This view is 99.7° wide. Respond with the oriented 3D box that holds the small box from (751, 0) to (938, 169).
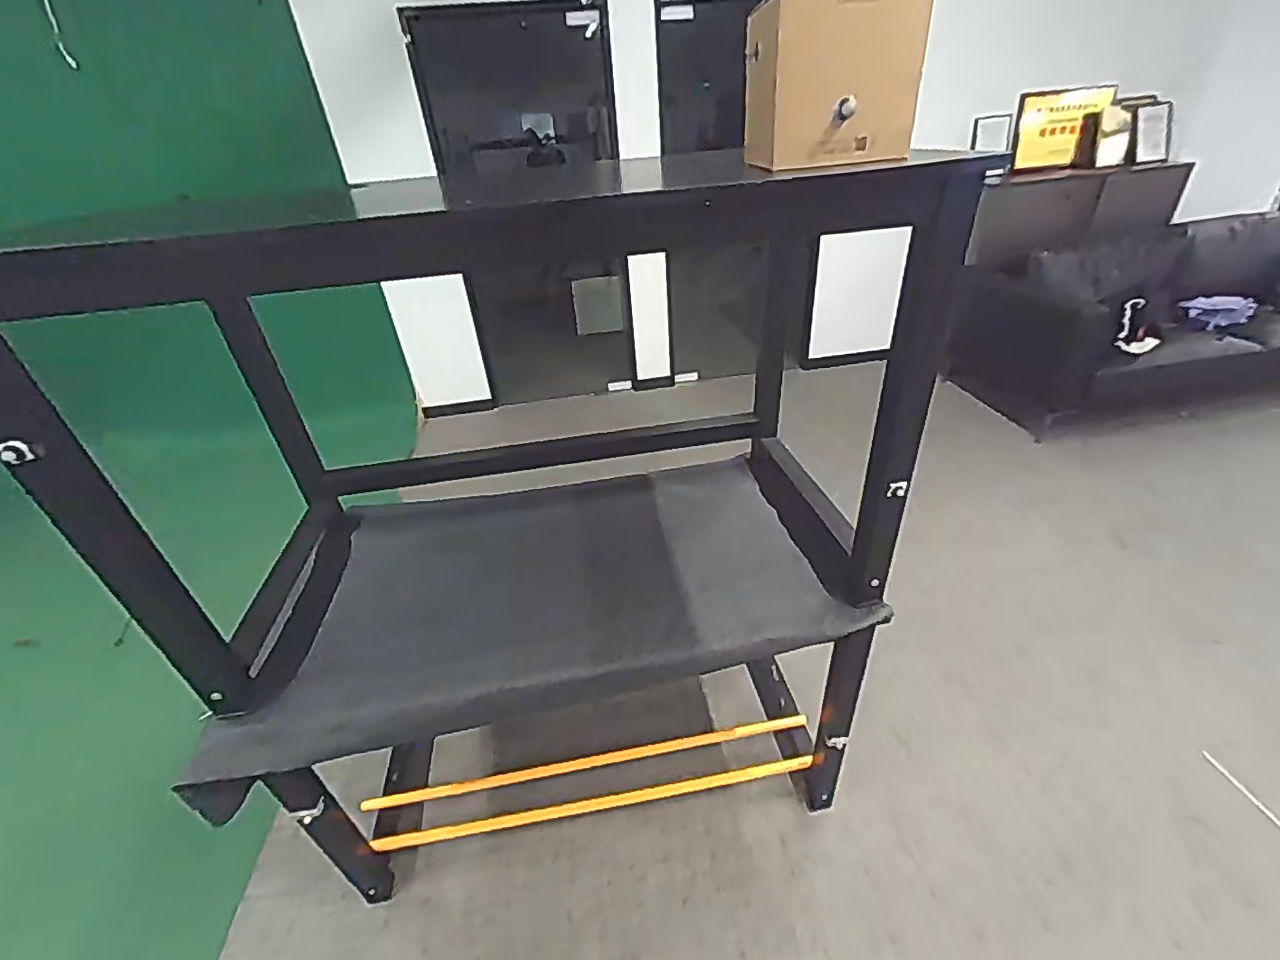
[{"bbox_3d":[0.236,-0.492,0.675,0.168,0.176,0.179,-5,33,2],"label":"small box"}]
